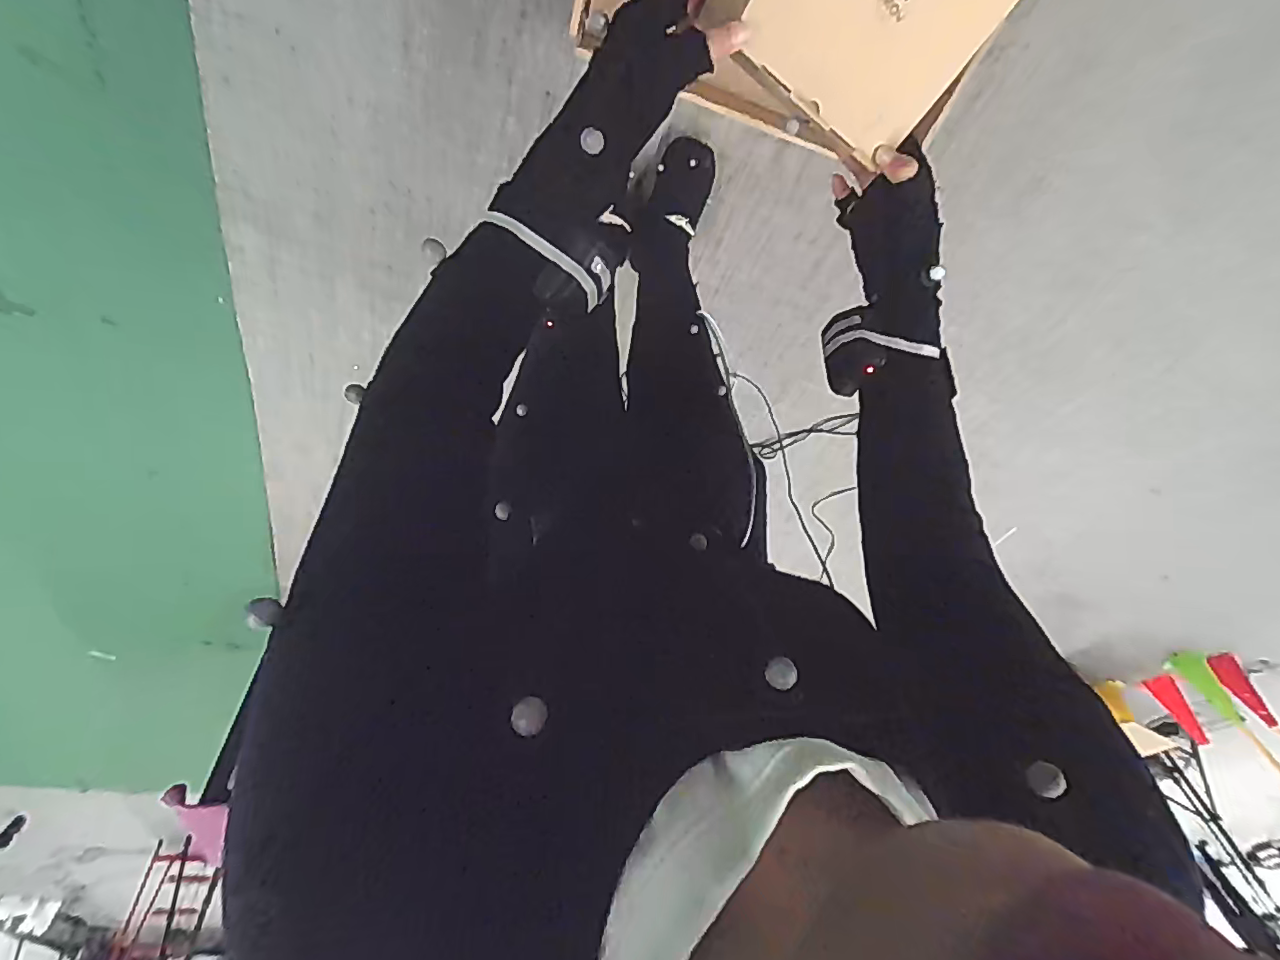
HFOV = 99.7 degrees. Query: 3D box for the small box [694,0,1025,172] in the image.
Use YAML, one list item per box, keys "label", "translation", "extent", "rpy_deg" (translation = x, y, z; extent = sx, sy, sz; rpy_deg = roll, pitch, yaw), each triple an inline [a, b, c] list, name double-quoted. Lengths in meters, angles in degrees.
- label: "small box"
  translation: [0.158, -0.381, 0.403]
  extent: [0.168, 0.176, 0.179]
  rpy_deg: [18, 128, -32]
